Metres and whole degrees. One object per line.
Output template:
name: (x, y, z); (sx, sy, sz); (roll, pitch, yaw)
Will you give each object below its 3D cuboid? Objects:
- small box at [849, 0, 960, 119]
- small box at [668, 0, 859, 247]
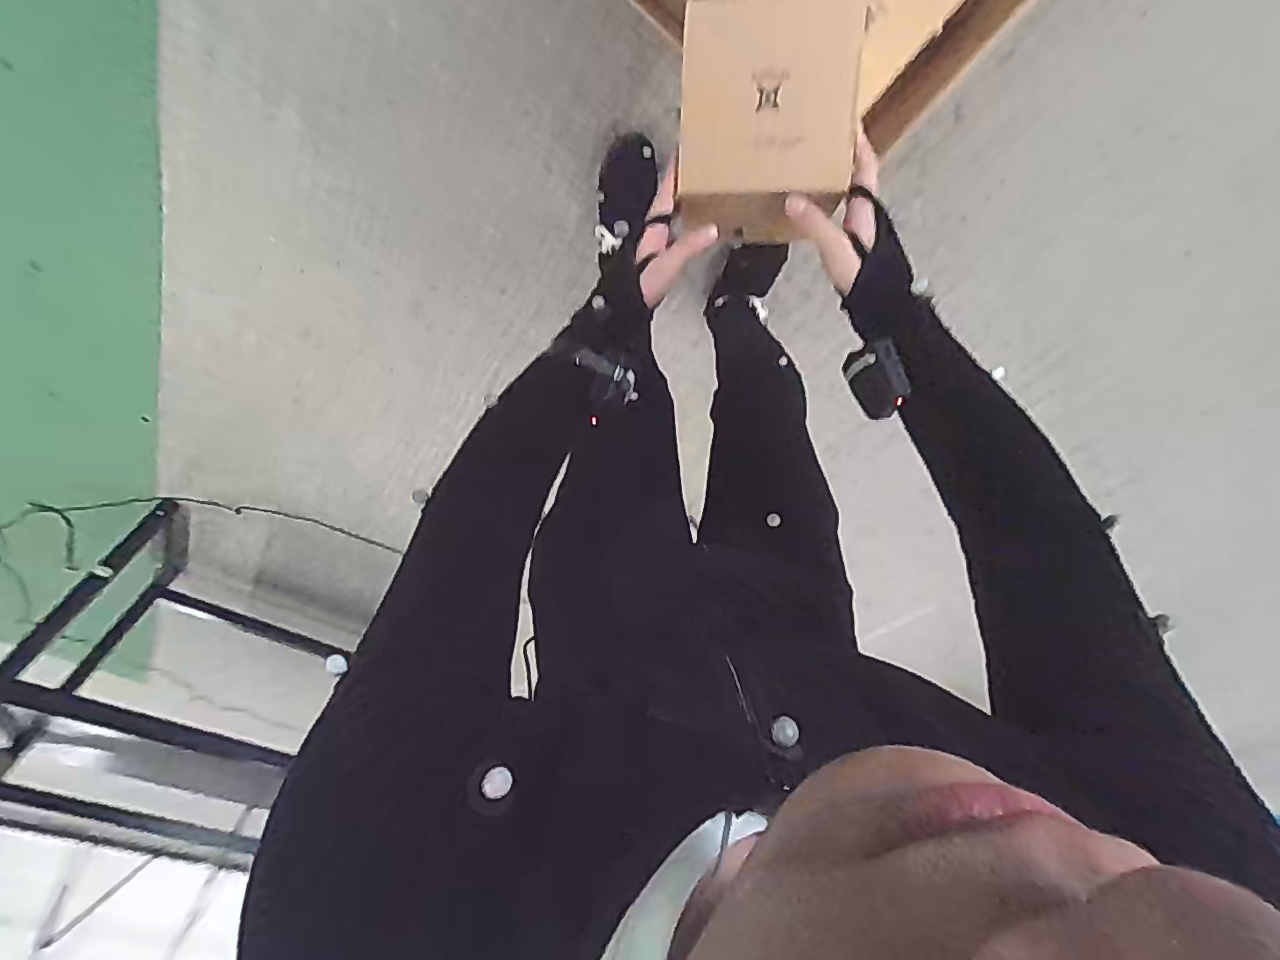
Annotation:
small box: (0.316, -0.676, 0.785); (0.168, 0.176, 0.179); (31, 129, -20)
small box: (0.121, -0.367, 0.579); (0.168, 0.176, 0.179); (3, 98, 7)
